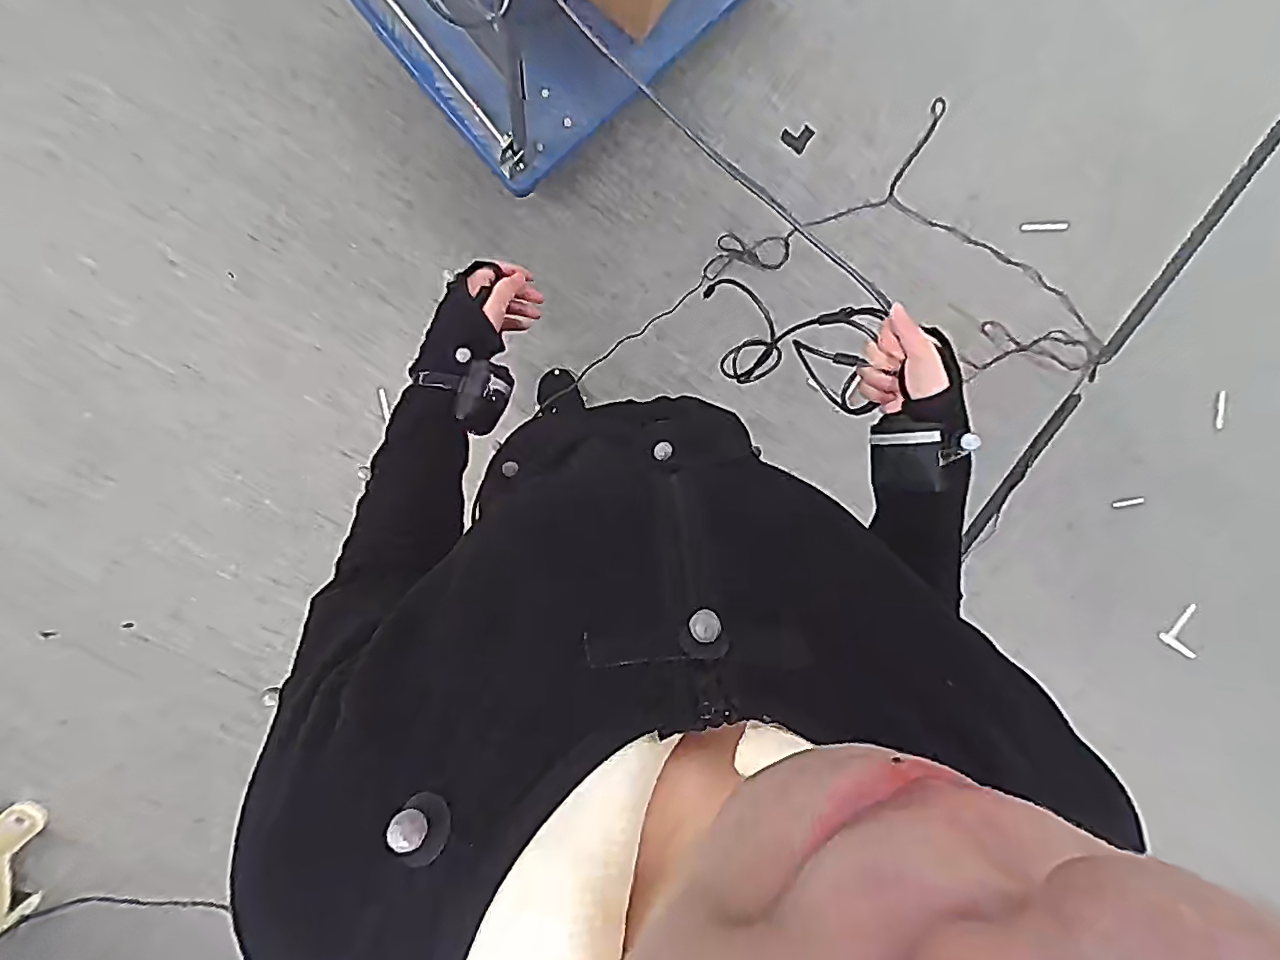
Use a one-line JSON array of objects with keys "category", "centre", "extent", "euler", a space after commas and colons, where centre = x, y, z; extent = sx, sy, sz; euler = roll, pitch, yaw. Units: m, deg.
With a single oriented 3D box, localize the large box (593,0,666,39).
[{"category": "large box", "centre": [-0.055, -1.119, 0.935], "extent": [0.408, 0.320, 0.320], "euler": [34, 96, -13]}]
